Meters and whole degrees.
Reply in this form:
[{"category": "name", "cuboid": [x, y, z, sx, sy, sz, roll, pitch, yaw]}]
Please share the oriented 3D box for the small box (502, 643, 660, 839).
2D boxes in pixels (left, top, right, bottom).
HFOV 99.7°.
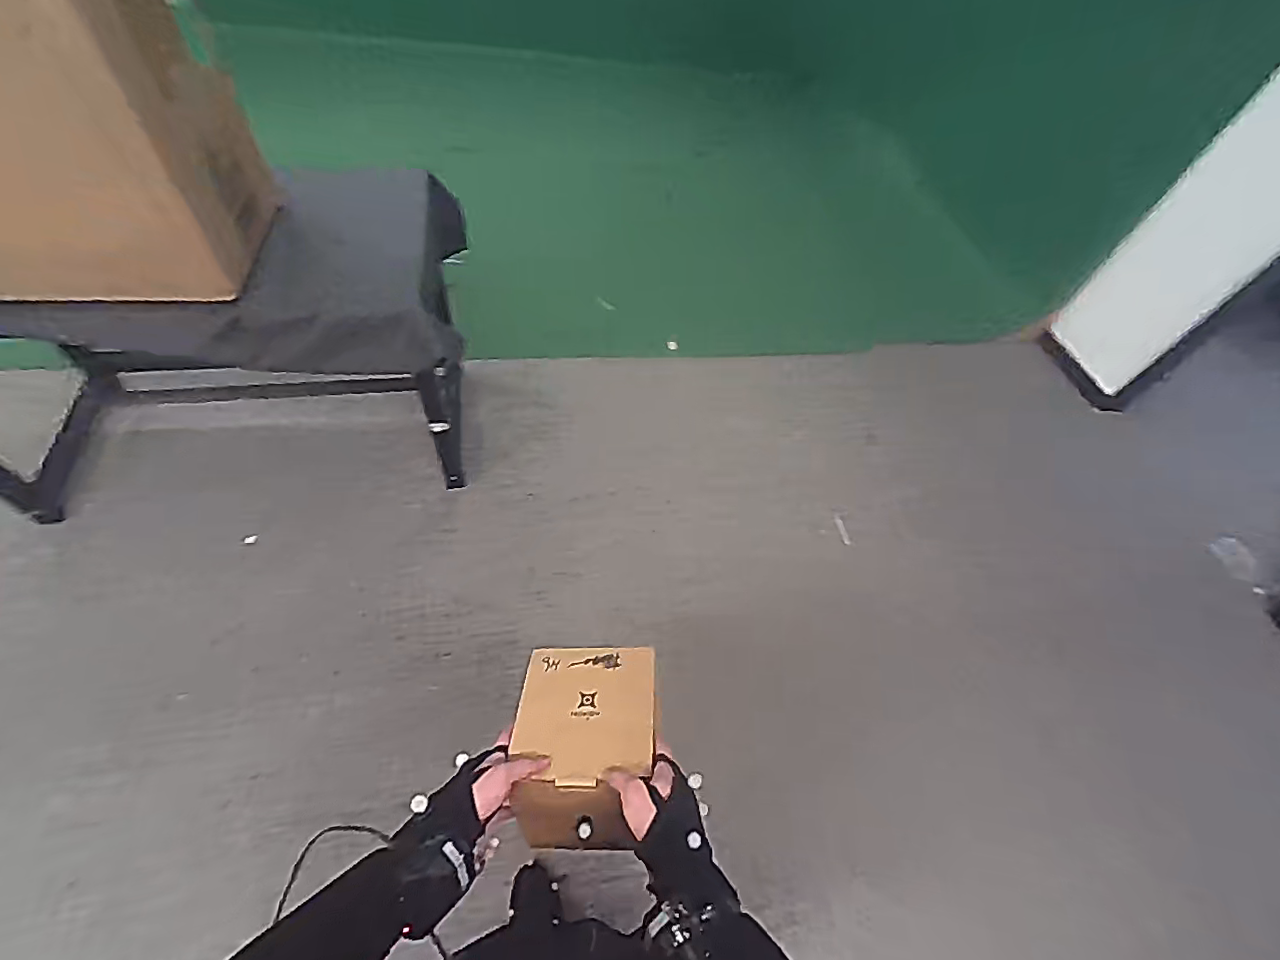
[{"category": "small box", "cuboid": [-0.061, 0.336, 0.697, 0.168, 0.176, 0.179, -3, 34, 4]}]
